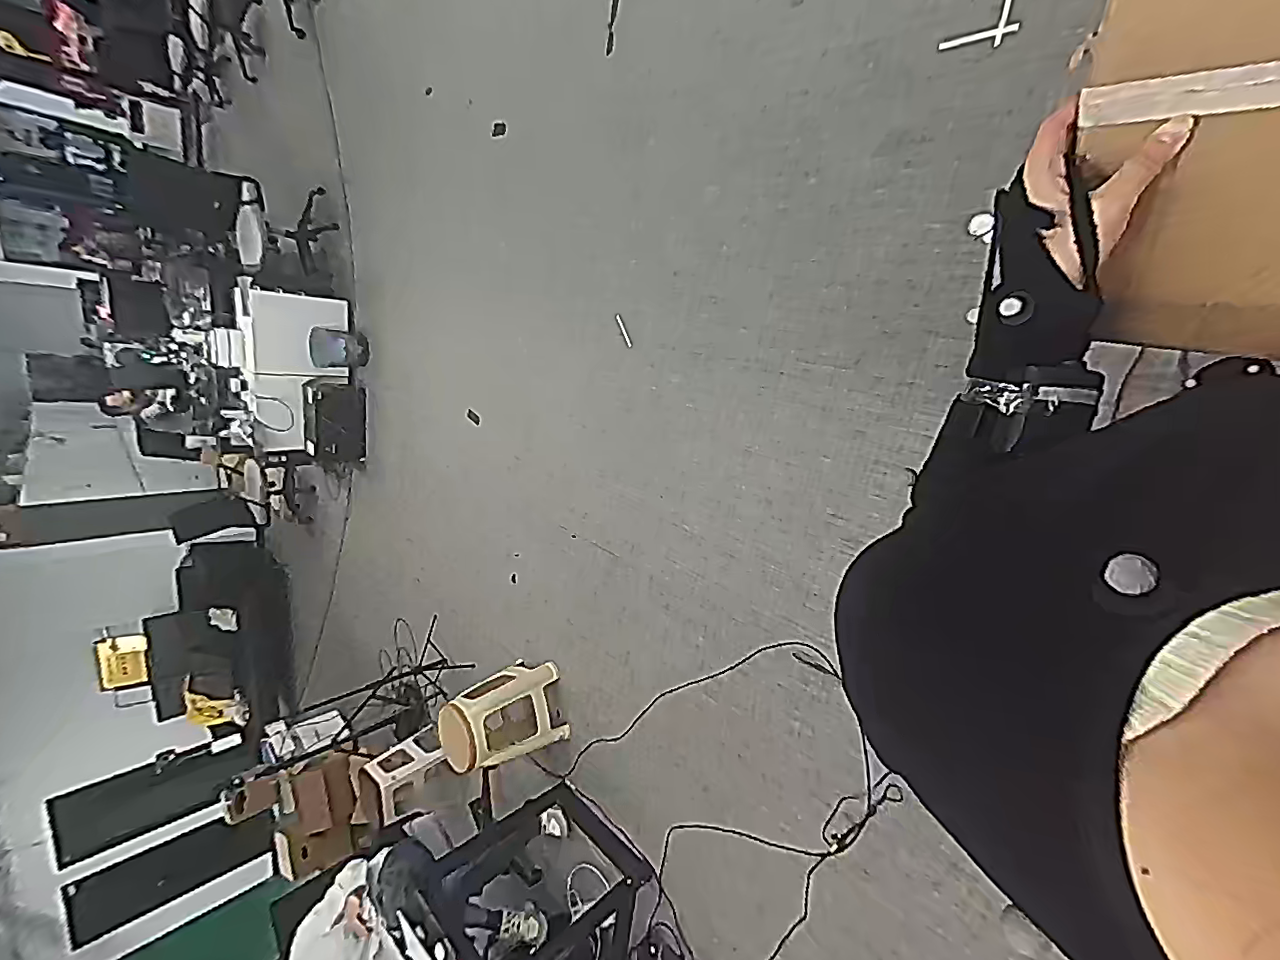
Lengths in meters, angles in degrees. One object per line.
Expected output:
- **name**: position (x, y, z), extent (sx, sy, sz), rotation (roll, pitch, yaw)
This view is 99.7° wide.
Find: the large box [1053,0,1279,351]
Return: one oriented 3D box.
- **large box**: position (0.516, -0.267, 0.274), extent (0.408, 0.320, 0.320), rotation (22, 145, 42)
